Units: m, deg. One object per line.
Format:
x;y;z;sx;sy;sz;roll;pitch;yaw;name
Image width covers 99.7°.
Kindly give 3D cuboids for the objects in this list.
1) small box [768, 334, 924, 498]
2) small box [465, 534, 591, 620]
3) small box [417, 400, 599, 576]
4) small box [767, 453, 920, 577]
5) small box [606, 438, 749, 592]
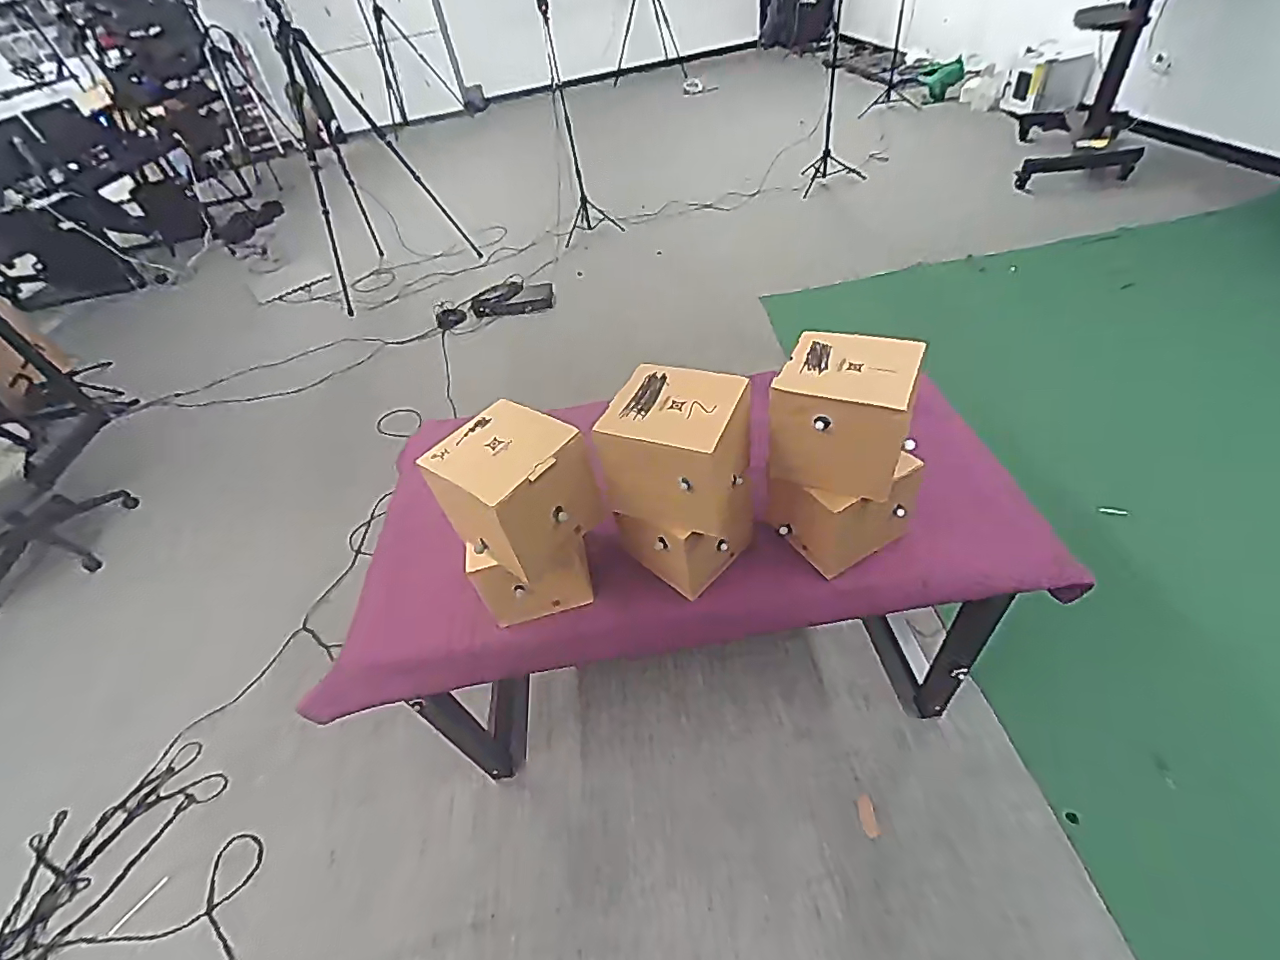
0.300;-0.096;0.807;0.179;0.176;0.168;15;49;26;small box
-0.189;0.119;0.927;0.168;0.176;0.179;-15;43;-4;small box
-0.183;0.014;0.796;0.179;0.176;0.168;25;54;31;small box
0.329;0.028;0.911;0.179;0.176;0.168;-26;45;-14;small box
0.070;0.065;0.924;0.168;0.176;0.179;-37;49;-25;small box
